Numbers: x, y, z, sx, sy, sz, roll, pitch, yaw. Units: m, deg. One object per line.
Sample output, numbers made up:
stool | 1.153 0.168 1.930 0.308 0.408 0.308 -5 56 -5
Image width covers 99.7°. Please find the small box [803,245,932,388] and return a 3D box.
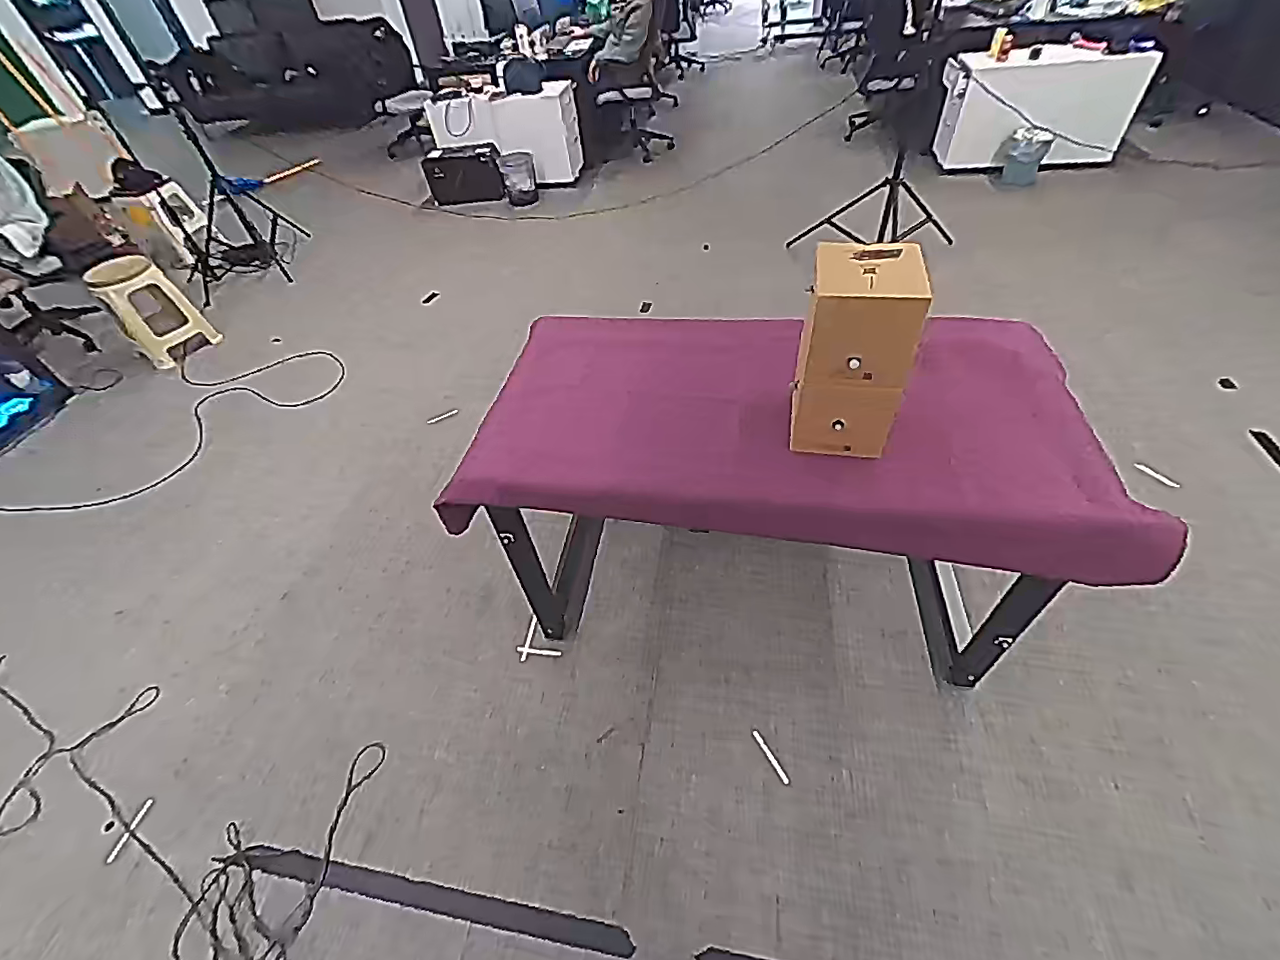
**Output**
small box | 0.373 -0.279 0.920 0.168 0.176 0.179 6 49 12

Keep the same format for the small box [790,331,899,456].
small box | 0.384 -0.165 1.038 0.168 0.176 0.179 6 48 12
